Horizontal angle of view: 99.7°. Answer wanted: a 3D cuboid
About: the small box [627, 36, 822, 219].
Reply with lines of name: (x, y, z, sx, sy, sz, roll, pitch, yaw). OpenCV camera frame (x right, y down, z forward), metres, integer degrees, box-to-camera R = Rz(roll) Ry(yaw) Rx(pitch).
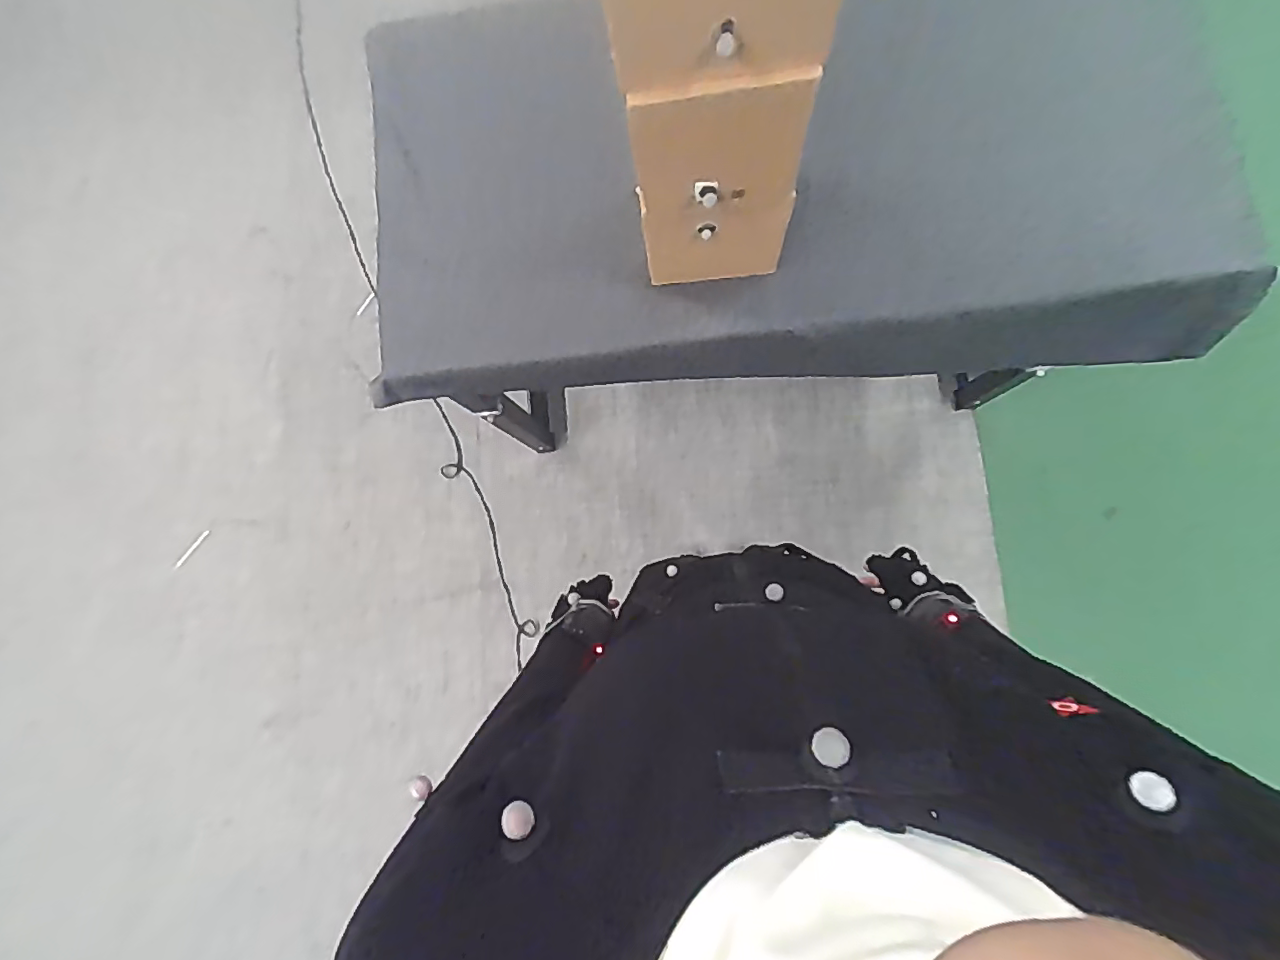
small box: (0.076, -0.400, 0.545, 0.168, 0.176, 0.179, -5, 83, 8)

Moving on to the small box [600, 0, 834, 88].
small box: (0.055, -0.426, 0.385, 0.179, 0.176, 0.168, -3, 82, 7)

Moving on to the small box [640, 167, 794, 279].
small box: (0.095, -0.379, 0.704, 0.179, 0.176, 0.168, -3, 82, 5)
